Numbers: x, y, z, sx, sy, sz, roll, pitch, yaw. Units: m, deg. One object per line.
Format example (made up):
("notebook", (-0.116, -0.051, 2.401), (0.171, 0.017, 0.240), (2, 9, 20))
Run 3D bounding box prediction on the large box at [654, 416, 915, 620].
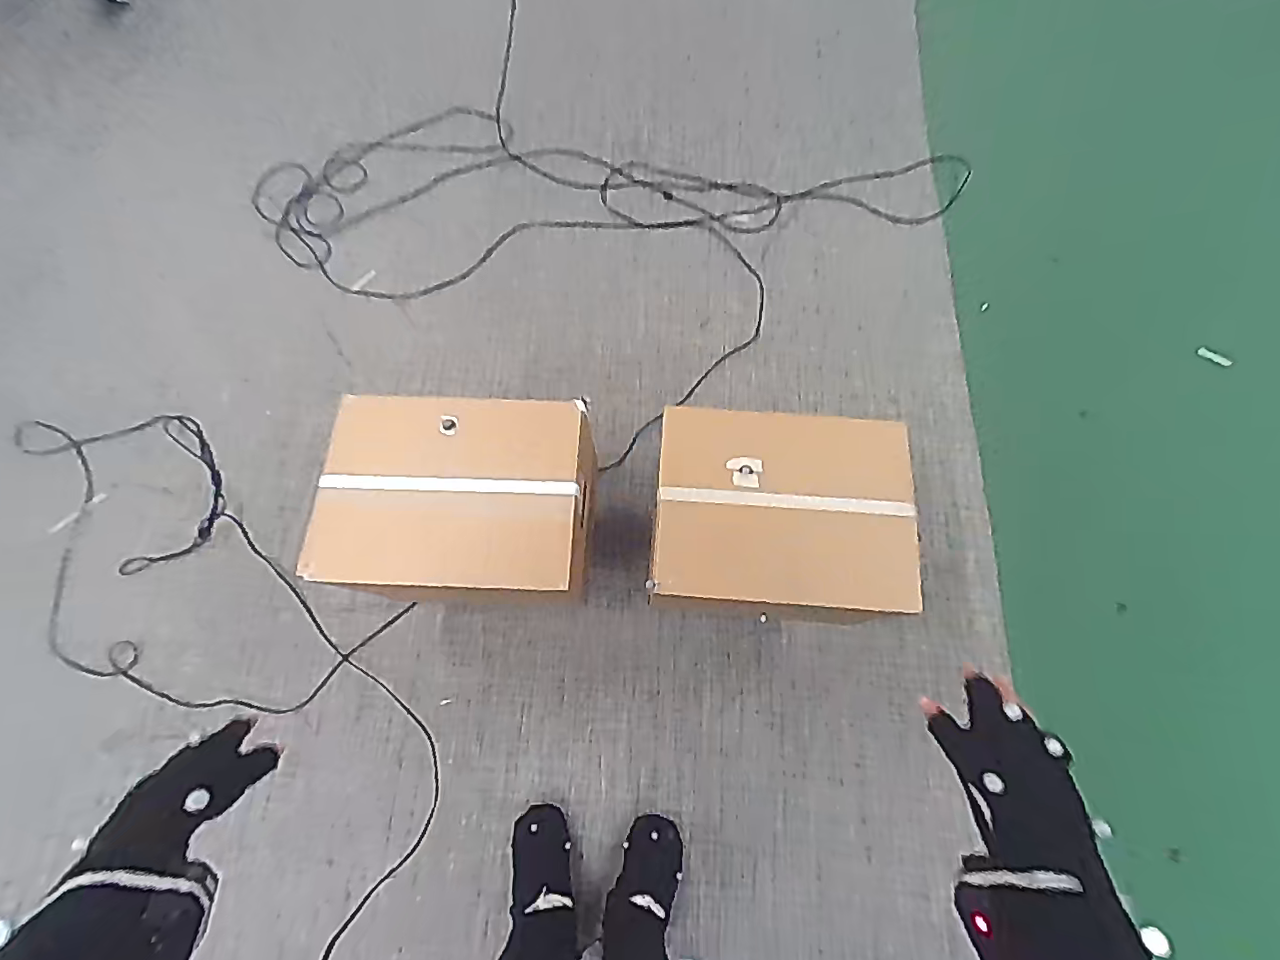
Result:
("large box", (0.237, 0.091, 1.016), (0.408, 0.320, 0.320), (4, 72, 2))
